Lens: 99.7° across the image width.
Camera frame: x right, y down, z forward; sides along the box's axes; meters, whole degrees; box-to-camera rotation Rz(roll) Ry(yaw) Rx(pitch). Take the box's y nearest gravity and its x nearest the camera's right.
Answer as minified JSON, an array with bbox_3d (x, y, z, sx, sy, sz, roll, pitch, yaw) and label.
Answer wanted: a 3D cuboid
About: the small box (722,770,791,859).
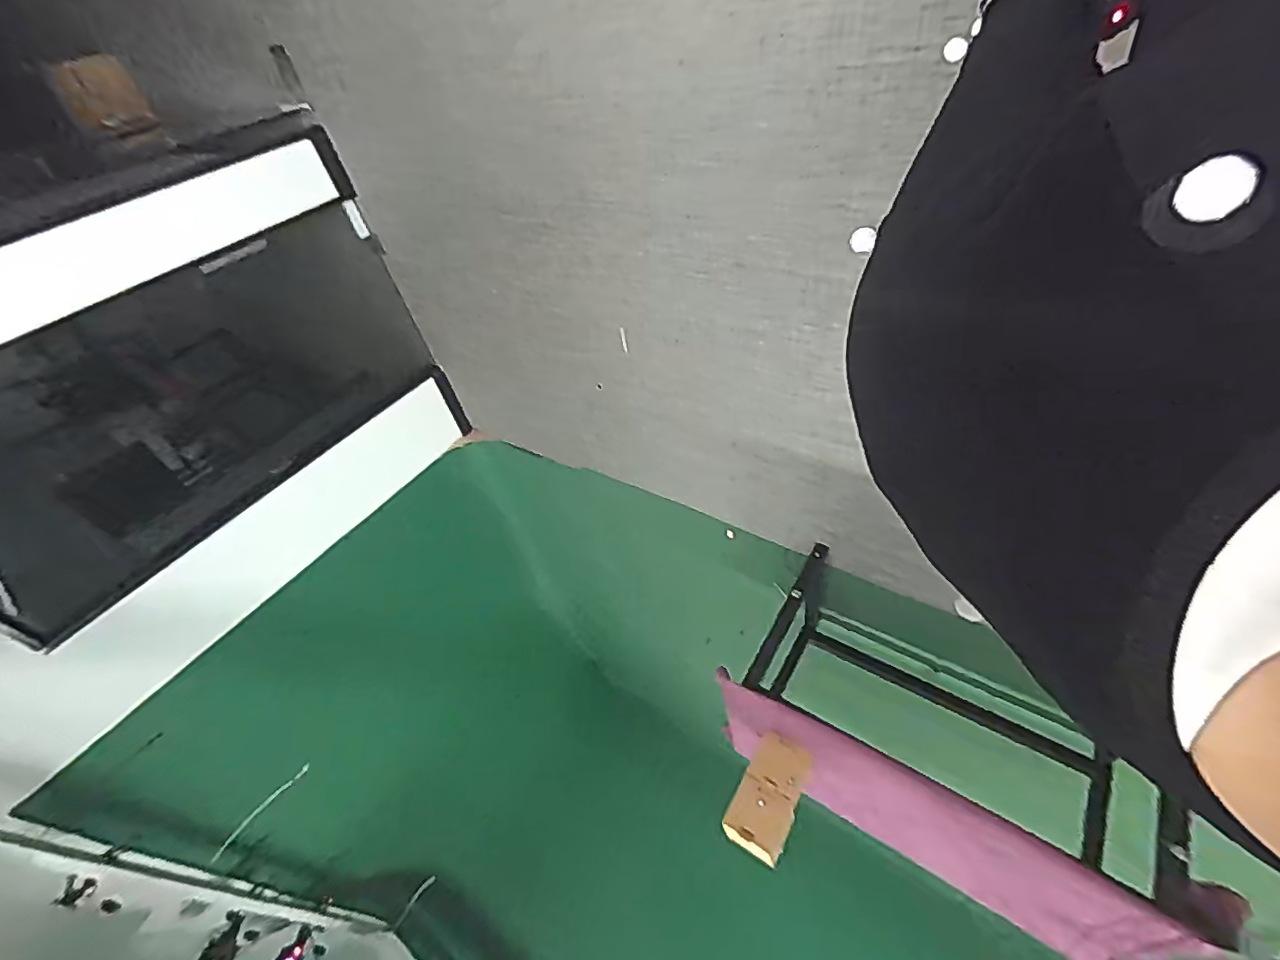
[{"bbox_3d":[0.389,1.099,1.782,0.168,0.176,0.179,18,143,31],"label":"small box"}]
